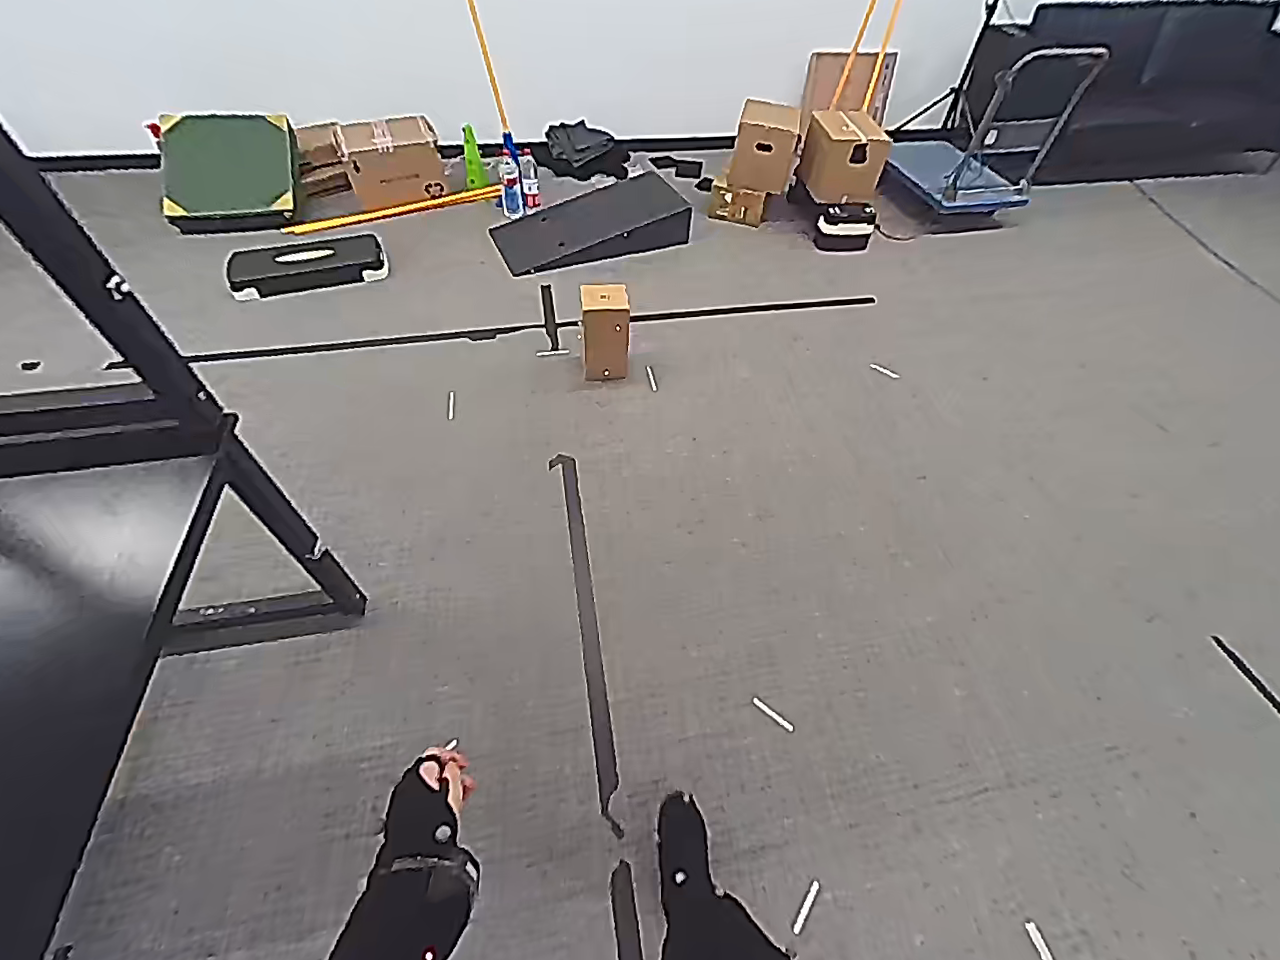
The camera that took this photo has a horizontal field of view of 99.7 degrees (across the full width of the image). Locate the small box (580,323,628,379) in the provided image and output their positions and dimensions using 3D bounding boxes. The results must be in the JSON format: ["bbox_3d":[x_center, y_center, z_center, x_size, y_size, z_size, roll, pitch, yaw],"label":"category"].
[{"bbox_3d":[-0.149,-0.526,2.192,0.179,0.176,0.168,-5,51,-9],"label":"small box"}]

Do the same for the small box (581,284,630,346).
[{"bbox_3d":[-0.135,-0.627,2.064,0.179,0.176,0.168,-4,51,-6],"label":"small box"}]
